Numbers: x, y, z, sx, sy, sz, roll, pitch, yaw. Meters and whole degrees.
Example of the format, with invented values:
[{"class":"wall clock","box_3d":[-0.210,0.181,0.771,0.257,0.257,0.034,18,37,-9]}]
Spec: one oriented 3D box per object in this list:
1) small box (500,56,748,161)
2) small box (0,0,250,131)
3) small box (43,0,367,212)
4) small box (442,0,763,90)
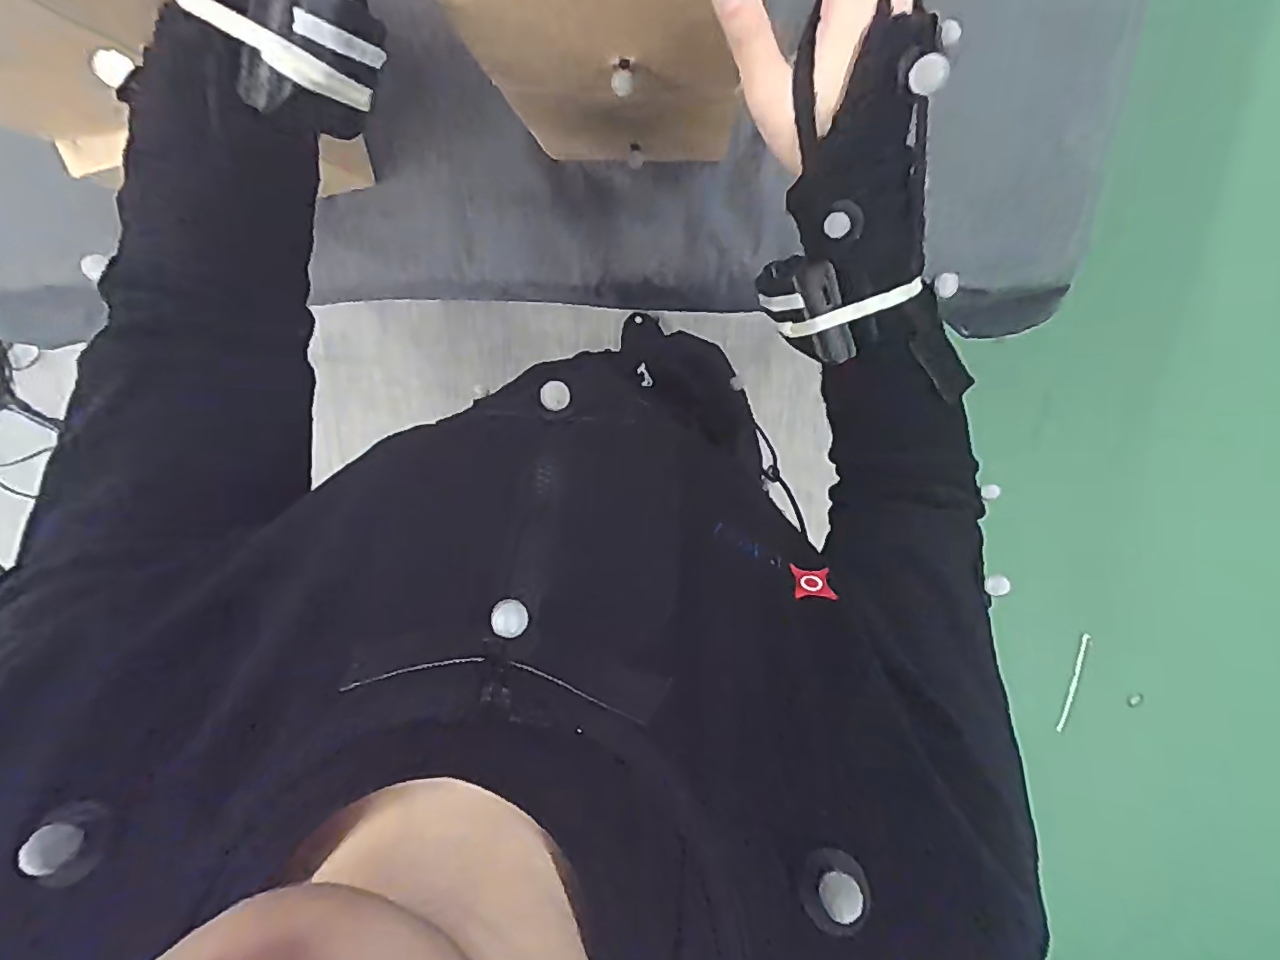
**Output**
[{"class":"small box","box_3d":[-0.008,-0.372,0.435,0.179,0.176,0.168,2,107,2]},{"class":"small box","box_3d":[-0.376,-0.317,0.301,0.179,0.176,0.168,-5,108,4]},{"class":"small box","box_3d":[-0.371,-0.349,0.460,0.168,0.176,0.179,-8,107,6]},{"class":"small box","box_3d":[-0.020,-0.326,0.274,0.179,0.176,0.168,3,107,2]}]
